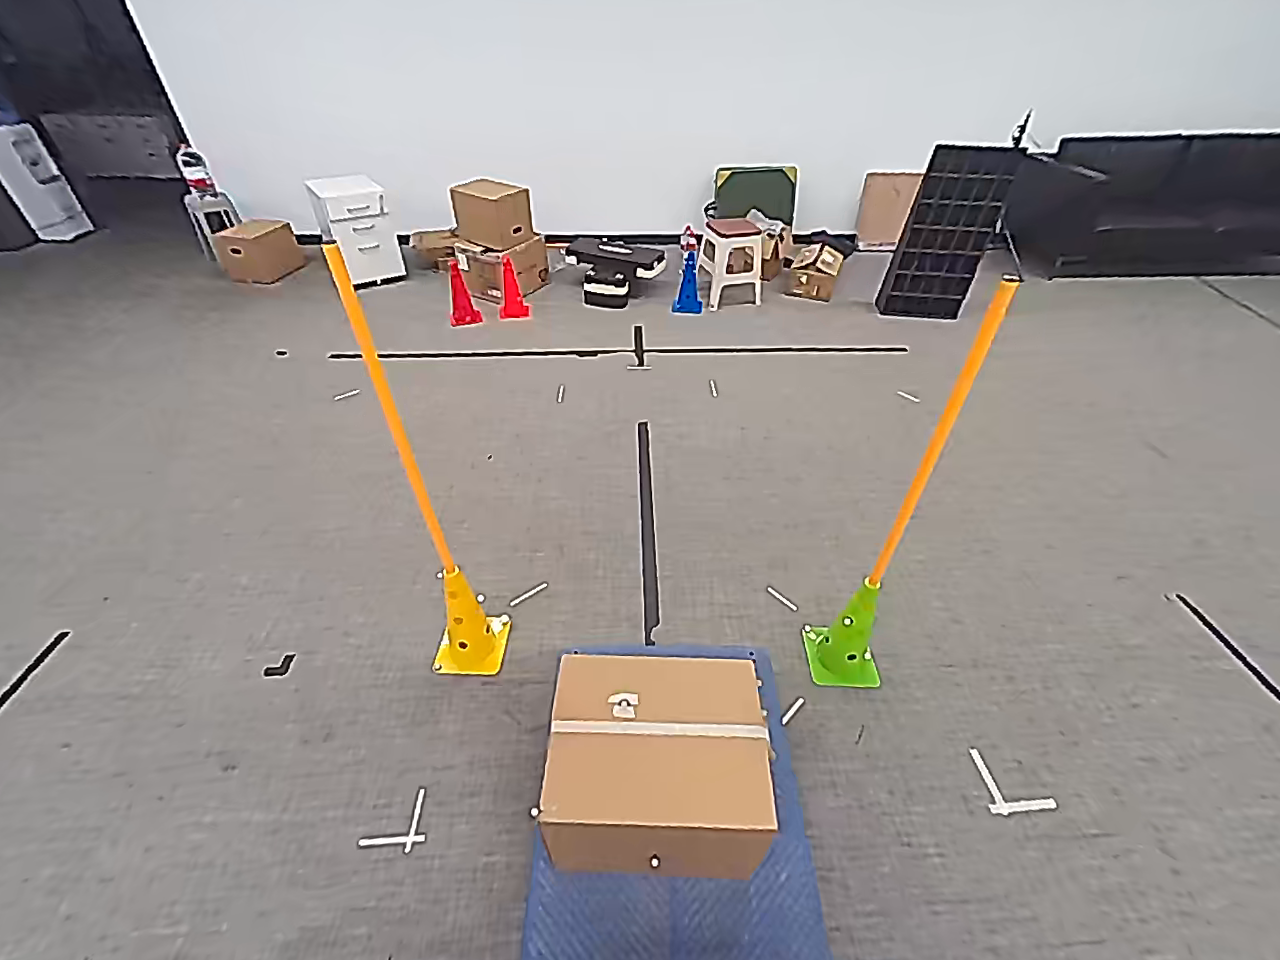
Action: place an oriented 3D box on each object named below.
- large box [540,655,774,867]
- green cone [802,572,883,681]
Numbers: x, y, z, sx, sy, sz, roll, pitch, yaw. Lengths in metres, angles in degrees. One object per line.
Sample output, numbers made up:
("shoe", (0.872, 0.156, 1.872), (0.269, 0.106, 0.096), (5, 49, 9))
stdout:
("large box", (0.032, 0.582, 1.119), (0.408, 0.320, 0.320), (1, 41, 1))
("green cone", (0.621, 0.399, 1.561), (0.202, 0.368, 0.200), (3, 41, 0))
